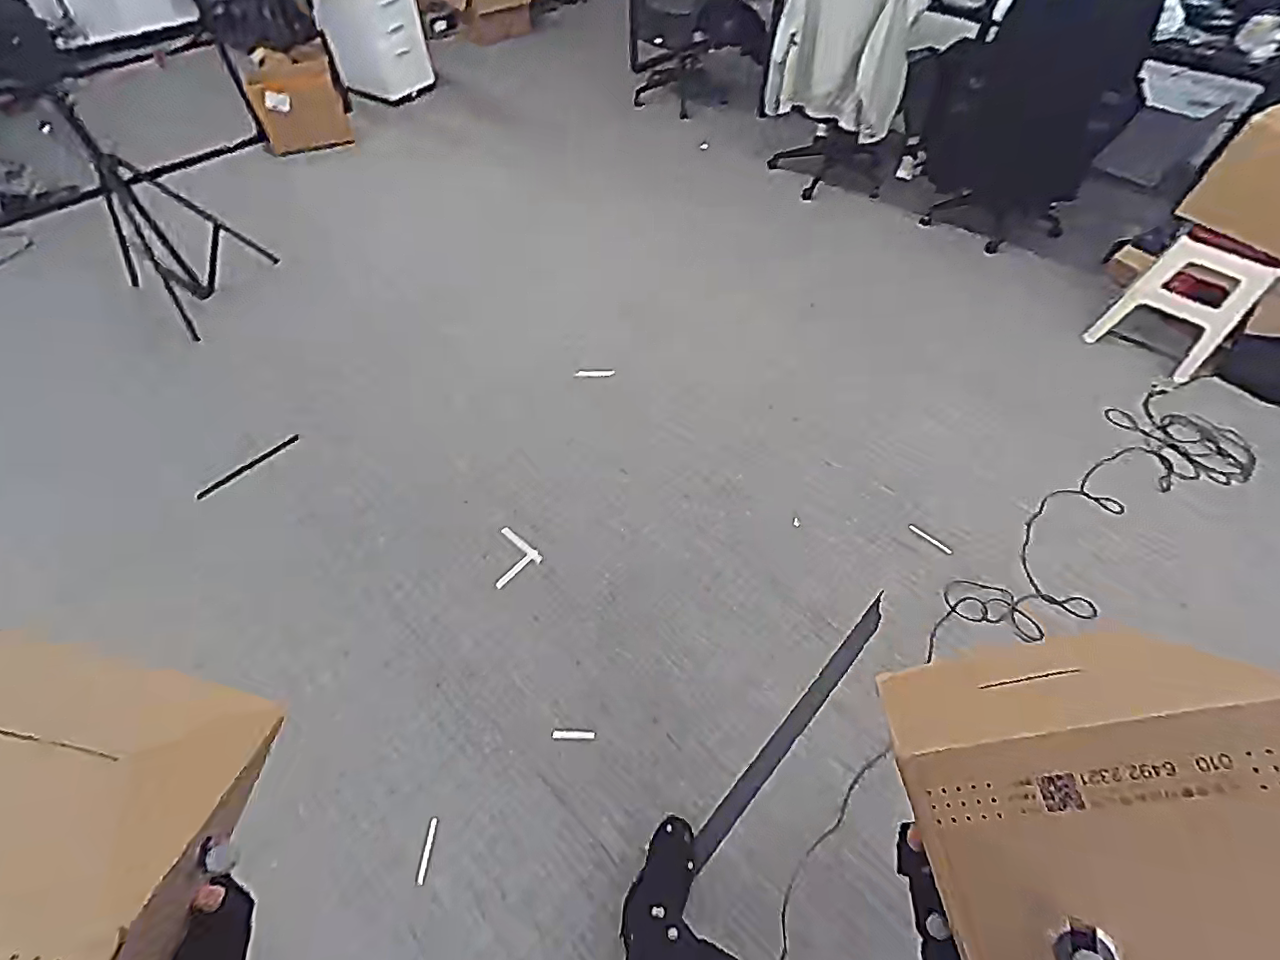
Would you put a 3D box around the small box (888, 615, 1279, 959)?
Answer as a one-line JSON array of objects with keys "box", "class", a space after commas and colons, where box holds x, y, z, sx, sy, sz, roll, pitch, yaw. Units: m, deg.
[{"box": [0.250, 0.181, 0.293, 0.168, 0.179, 0.176, -18, 78, 17], "class": "small box"}]

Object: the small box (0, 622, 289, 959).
[{"box": [-0.305, 0.185, 0.248, 0.168, 0.179, 0.176, 25, 87, -16], "class": "small box"}]
